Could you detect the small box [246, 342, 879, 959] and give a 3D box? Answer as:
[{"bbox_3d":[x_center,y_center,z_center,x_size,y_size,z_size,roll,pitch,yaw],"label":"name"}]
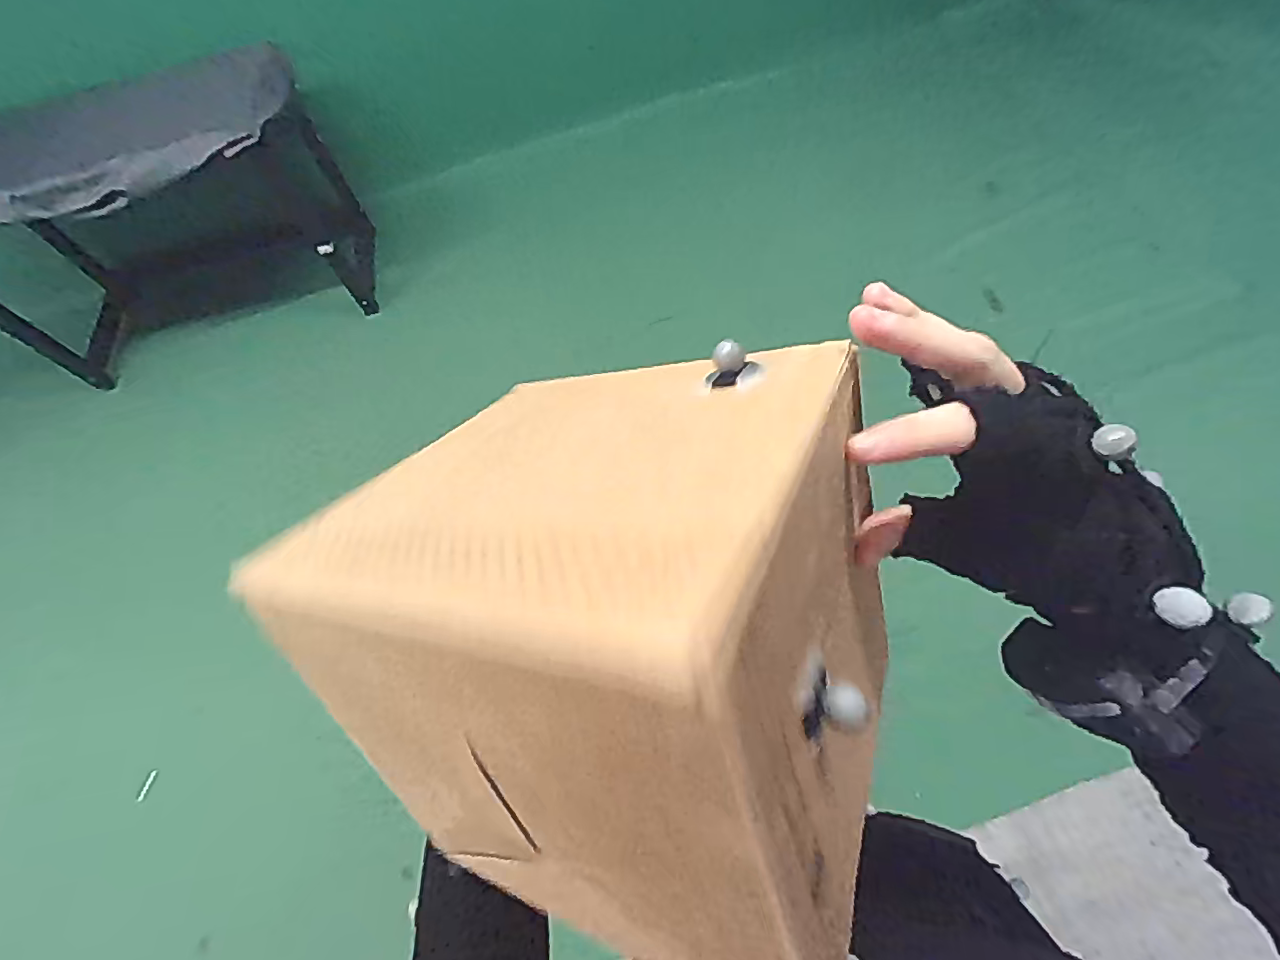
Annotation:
[{"bbox_3d":[-0.008,0.063,0.227,0.179,0.168,0.176,1,38,31],"label":"small box"}]
